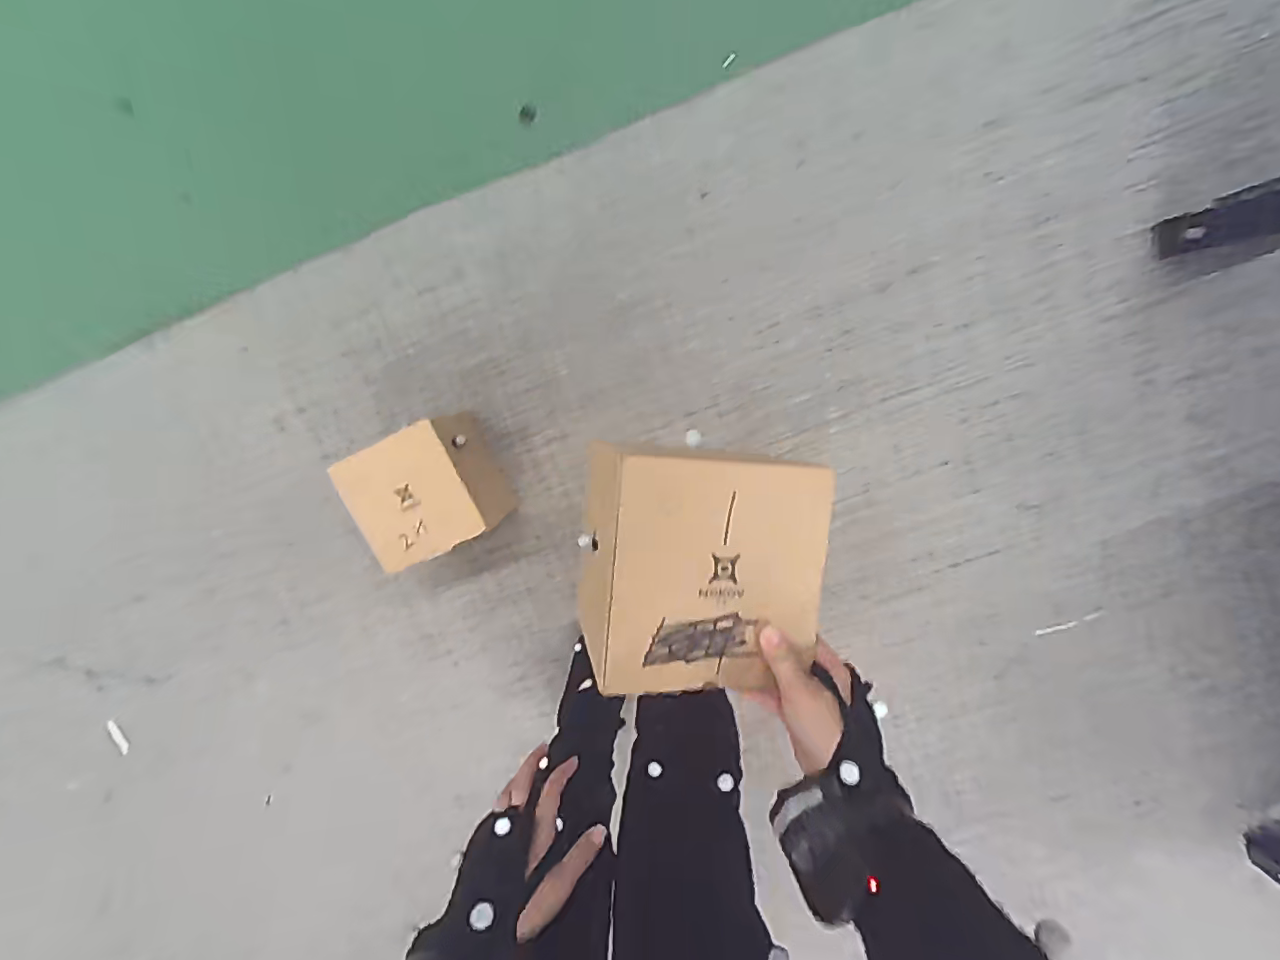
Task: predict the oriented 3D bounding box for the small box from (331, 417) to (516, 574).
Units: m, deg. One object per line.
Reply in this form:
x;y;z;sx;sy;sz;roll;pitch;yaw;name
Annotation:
-0.316;0.012;0.828;0.168;0.176;0.179;-25;99;7;small box

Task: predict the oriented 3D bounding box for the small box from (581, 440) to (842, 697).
0.044;0.064;0.466;0.168;0.176;0.179;5;96;-14;small box
